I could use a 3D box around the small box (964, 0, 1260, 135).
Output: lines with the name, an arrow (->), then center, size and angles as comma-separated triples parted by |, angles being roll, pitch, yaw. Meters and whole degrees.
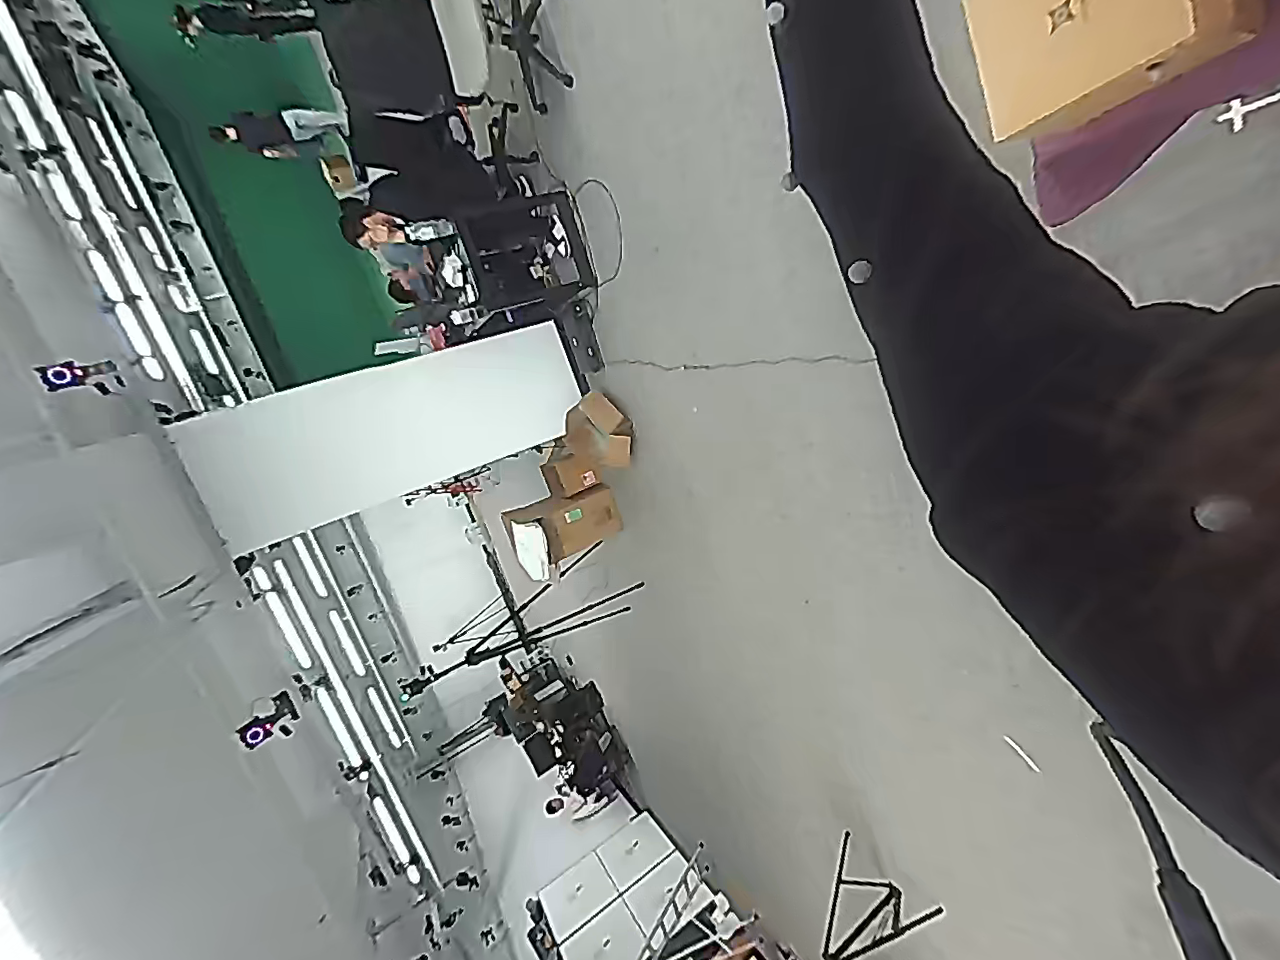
small box -> 0.489, -0.500, 0.570 | 0.179, 0.176, 0.168 | -2, 110, 63
